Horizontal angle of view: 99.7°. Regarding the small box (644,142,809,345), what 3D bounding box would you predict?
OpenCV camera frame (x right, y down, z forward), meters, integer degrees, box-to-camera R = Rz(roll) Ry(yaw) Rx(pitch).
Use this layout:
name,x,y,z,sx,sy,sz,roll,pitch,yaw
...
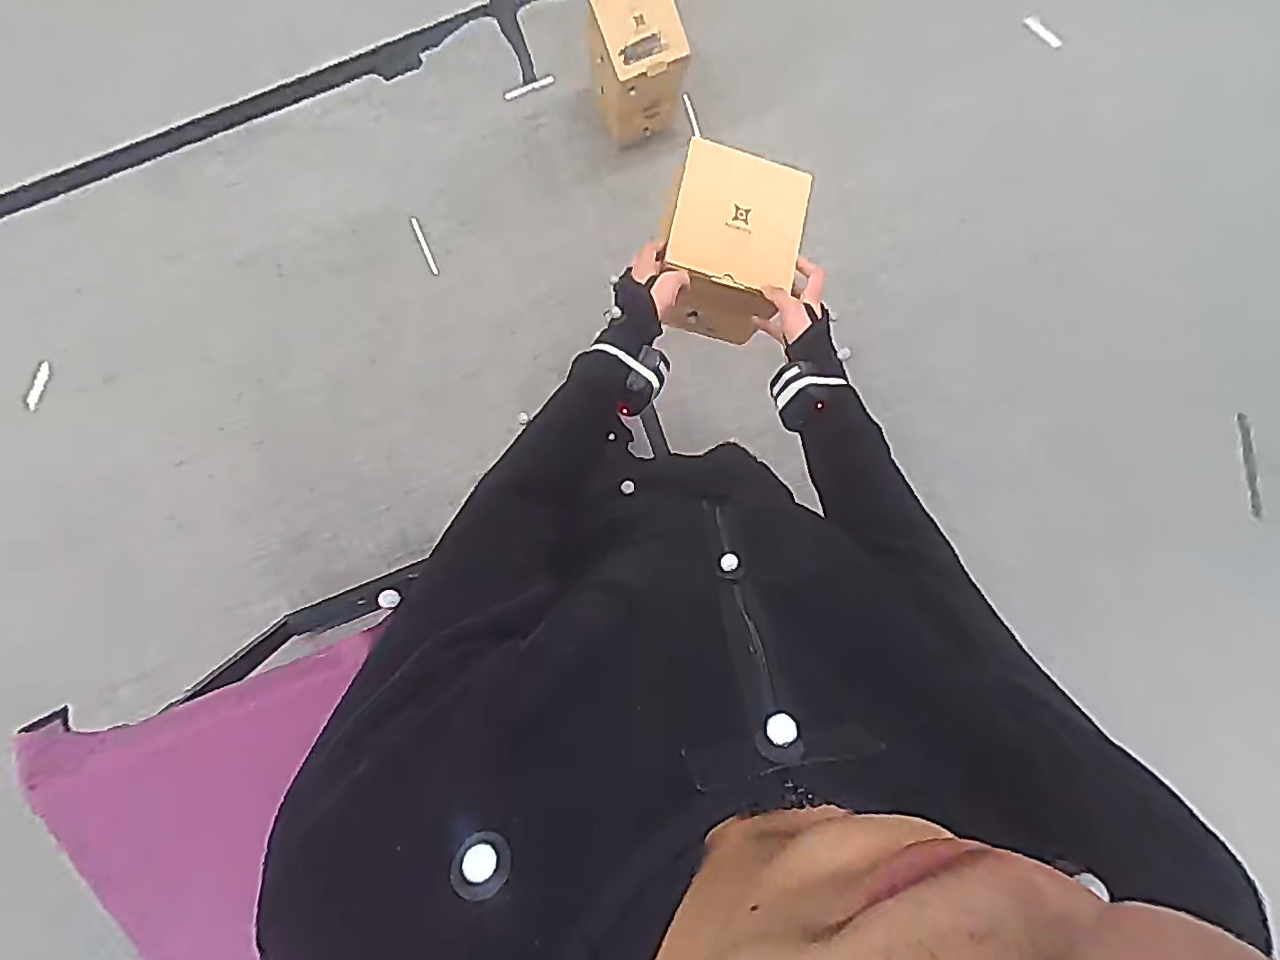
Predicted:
name,x,y,z,sx,sy,sz,roll,pitch,yaw
small box,0.110,-0.314,0.753,0.168,0.176,0.179,13,84,-8

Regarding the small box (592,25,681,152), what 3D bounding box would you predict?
name,x,y,z,sx,sy,sz,roll,pitch,yaw
small box,-0.017,-0.977,1.366,0.168,0.176,0.179,-24,102,0
